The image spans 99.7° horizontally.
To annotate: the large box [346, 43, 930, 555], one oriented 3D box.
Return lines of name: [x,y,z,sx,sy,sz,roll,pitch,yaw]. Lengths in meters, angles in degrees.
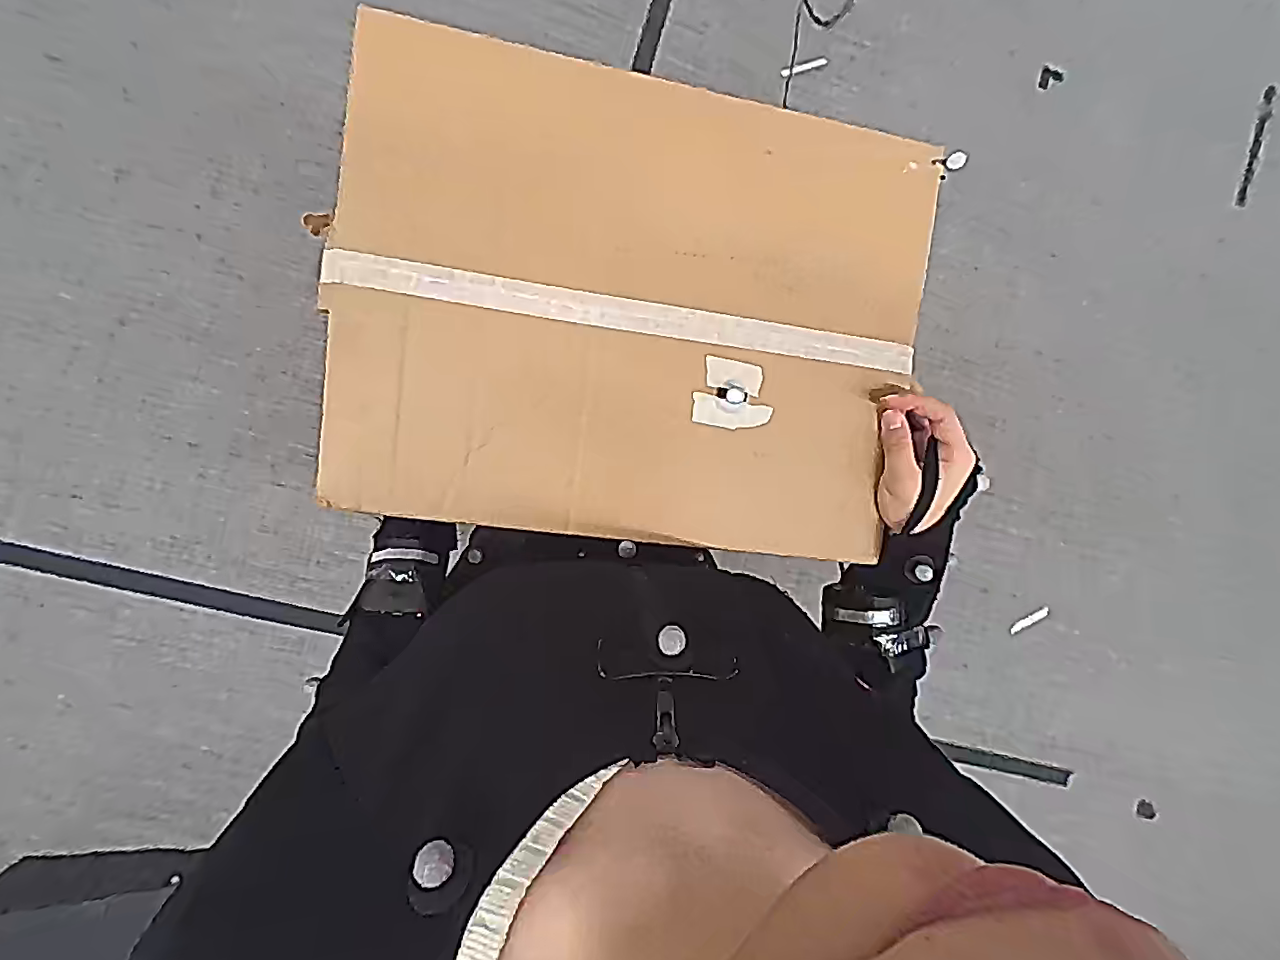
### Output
large box: [-0.015,-0.122,0.532,0.408,0.320,0.320,7,95,-10]
